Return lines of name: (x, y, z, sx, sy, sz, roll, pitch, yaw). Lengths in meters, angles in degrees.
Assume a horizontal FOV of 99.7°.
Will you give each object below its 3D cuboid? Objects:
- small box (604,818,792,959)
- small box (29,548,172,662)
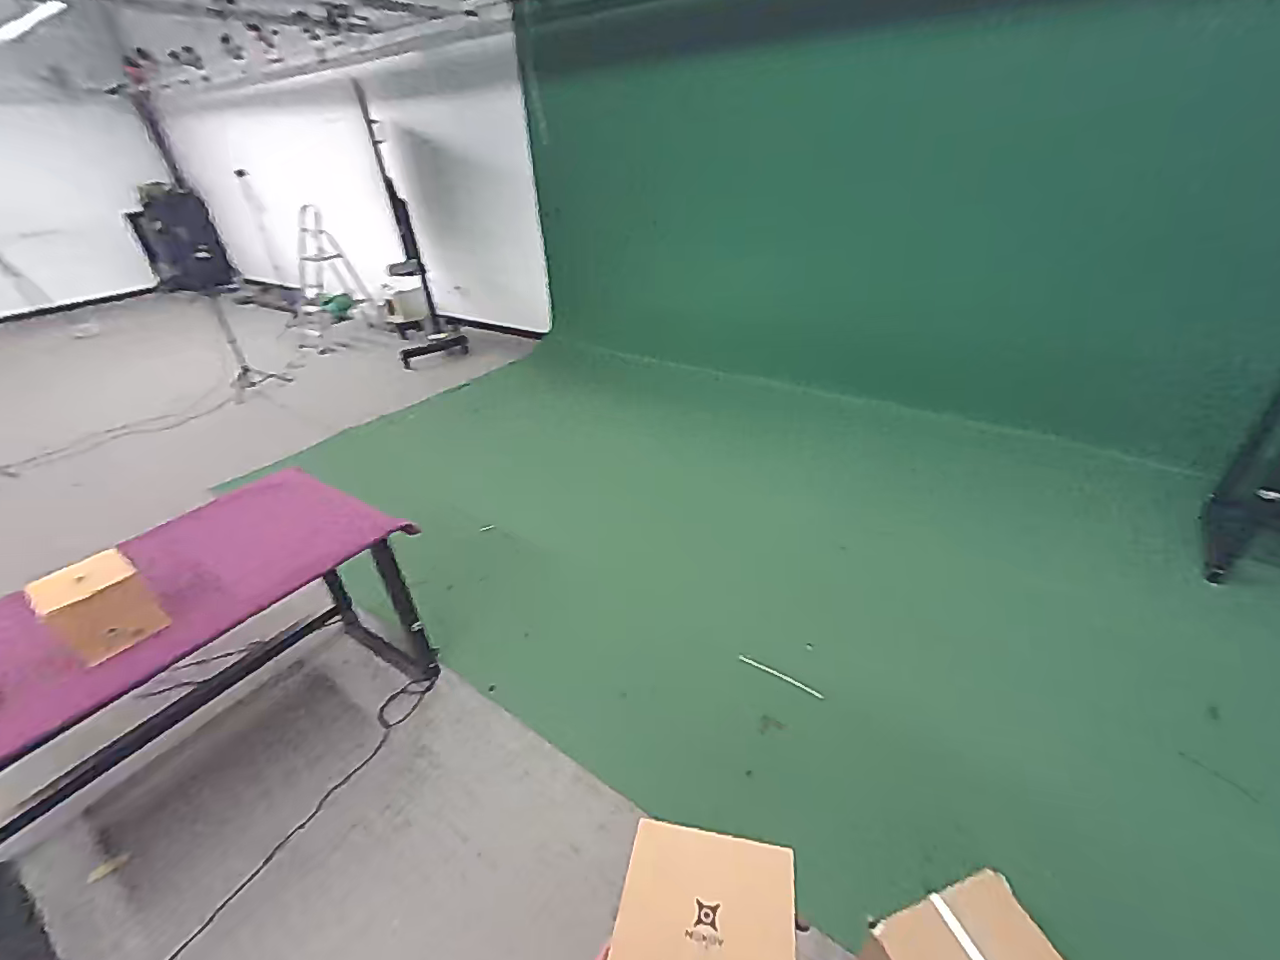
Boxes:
small box: (0.059, 0.486, 0.539, 0.168, 0.176, 0.179, 3, 27, 12)
small box: (-1.257, 0.293, 1.267, 0.179, 0.176, 0.168, 19, 39, 31)
